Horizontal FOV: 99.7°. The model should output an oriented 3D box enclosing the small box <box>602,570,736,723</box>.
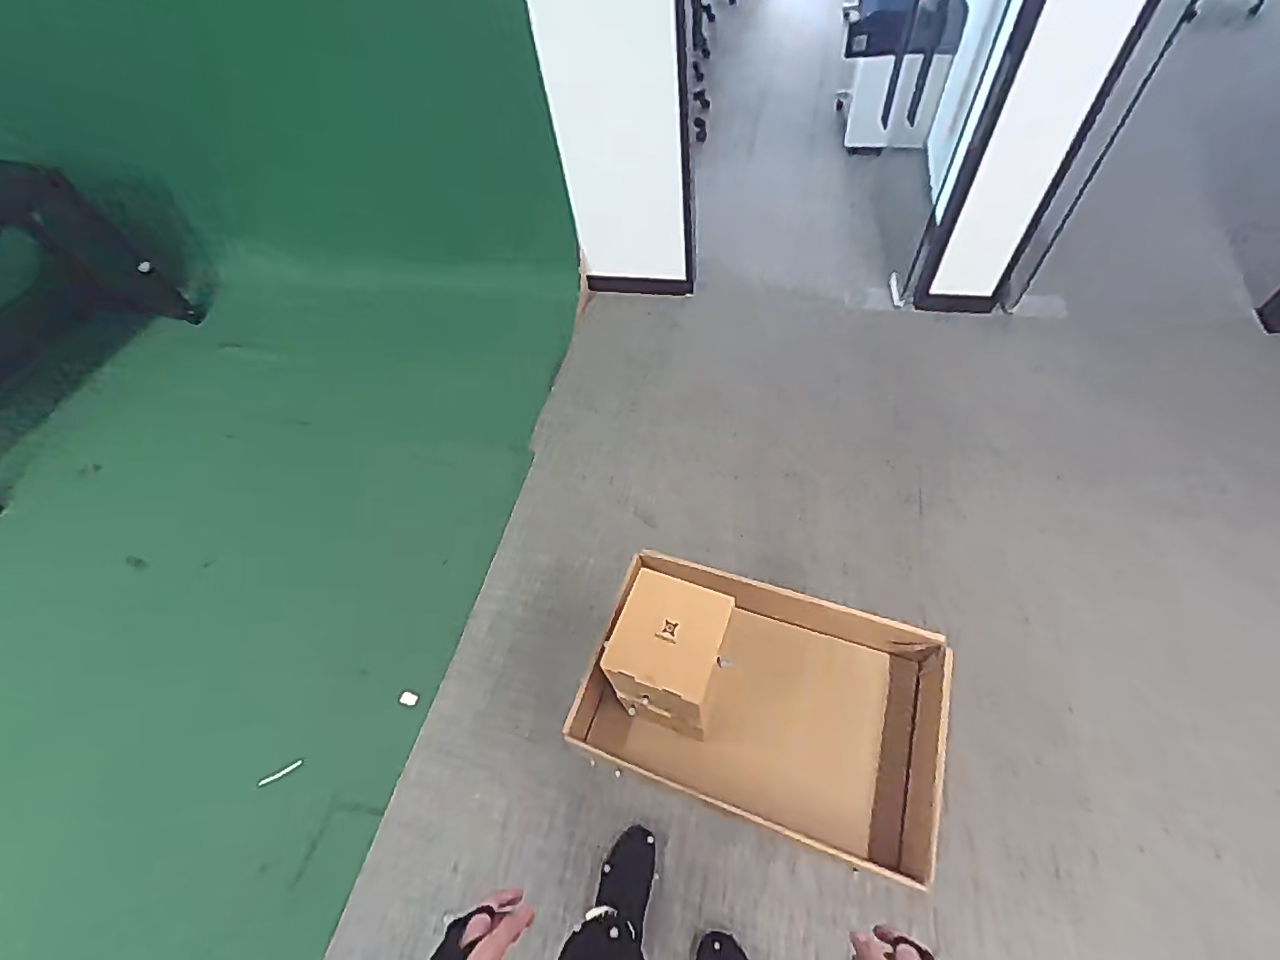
[{"bbox_3d":[0.053,0.282,0.908,0.168,0.176,0.179,17,61,16],"label":"small box"}]
